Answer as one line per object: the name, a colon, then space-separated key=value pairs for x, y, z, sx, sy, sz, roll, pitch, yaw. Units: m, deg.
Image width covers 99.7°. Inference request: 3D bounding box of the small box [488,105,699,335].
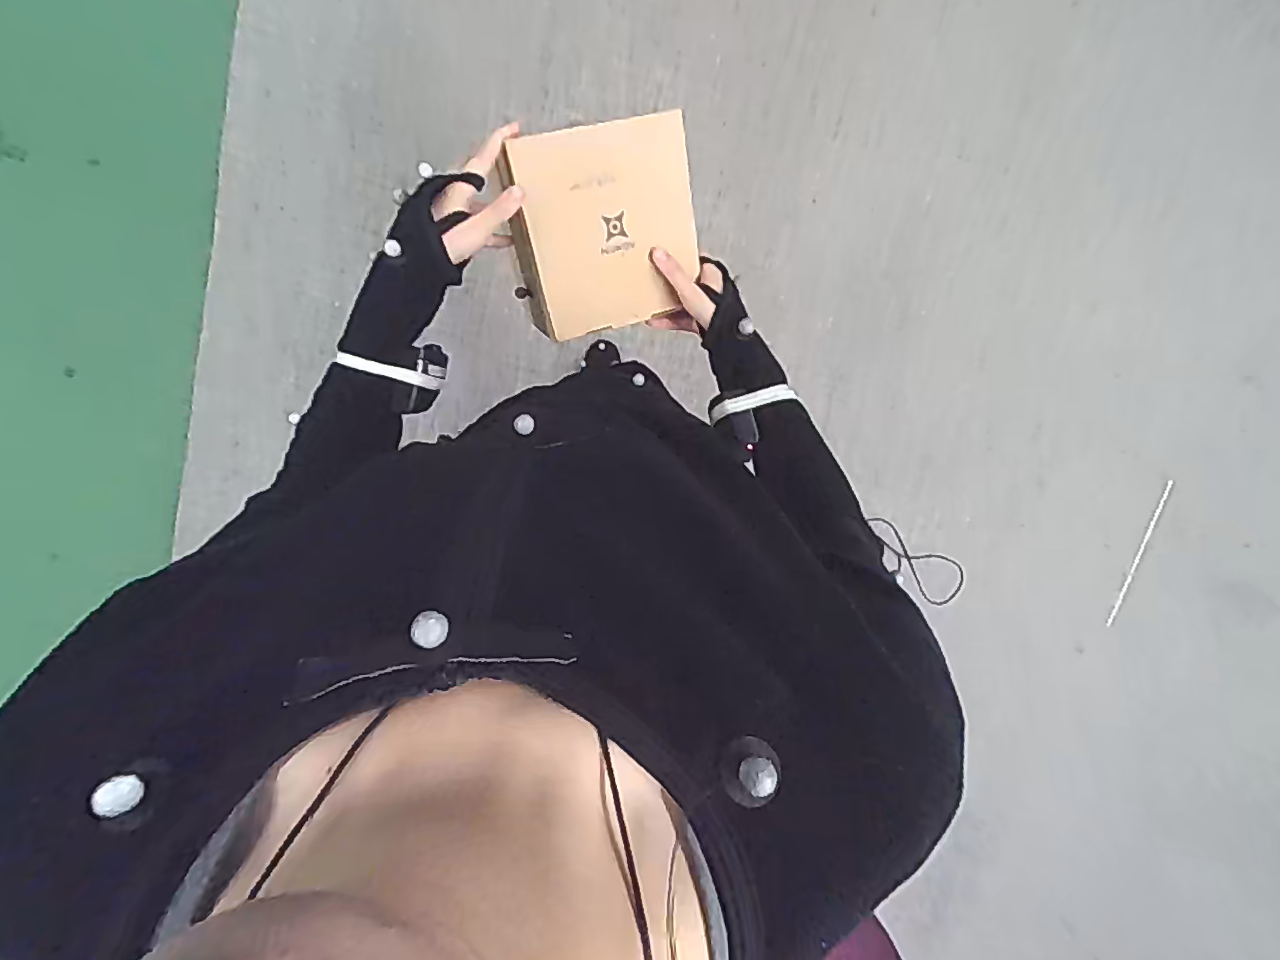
small box: x=-0.052 y=-0.273 z=0.574 sx=0.168 sy=0.176 sz=0.179 roll=-18 pitch=120 yaw=-13
